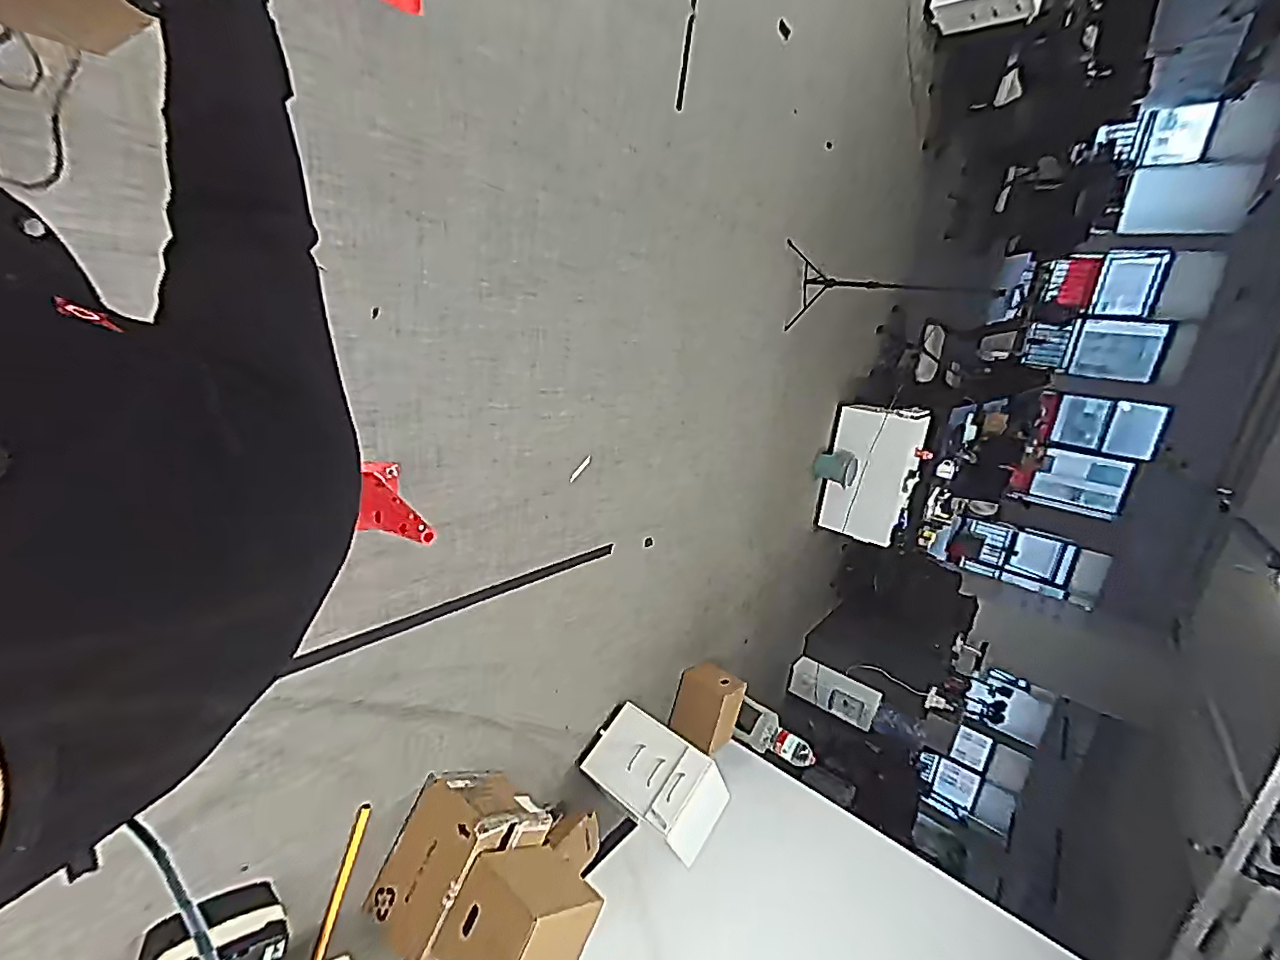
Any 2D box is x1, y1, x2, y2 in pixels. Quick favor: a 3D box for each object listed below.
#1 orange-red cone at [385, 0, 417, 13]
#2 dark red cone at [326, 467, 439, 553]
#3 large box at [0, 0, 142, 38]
[{"bbox_3d":[-0.461,-1.156,1.106,0.198,0.360,0.199,-17,116,-49],"label":"orange-red cone"},{"bbox_3d":[-0.634,0.101,1.392,0.201,0.394,0.202,-4,108,-50],"label":"dark red cone"},{"bbox_3d":[-0.534,-0.496,0.256,0.408,0.320,0.320,-13,121,-49],"label":"large box"}]
